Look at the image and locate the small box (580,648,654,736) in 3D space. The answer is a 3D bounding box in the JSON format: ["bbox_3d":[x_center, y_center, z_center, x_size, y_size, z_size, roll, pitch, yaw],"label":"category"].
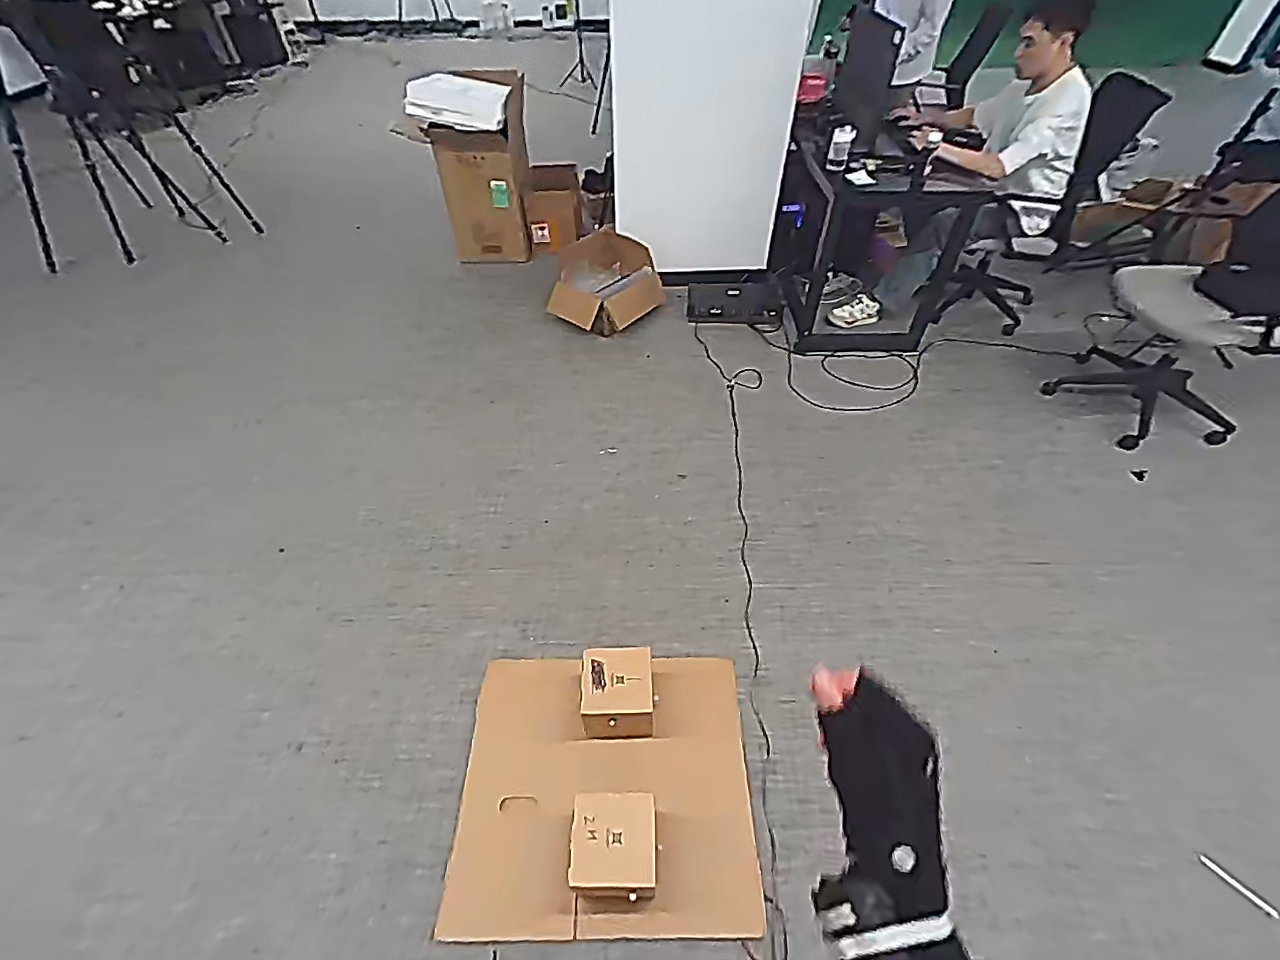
[{"bbox_3d":[-0.054,0.551,1.398,0.179,0.176,0.168,-2,47,0],"label":"small box"}]

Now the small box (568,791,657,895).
[{"bbox_3d":[-0.051,0.791,1.176,0.179,0.176,0.168,-1,47,3],"label":"small box"}]
